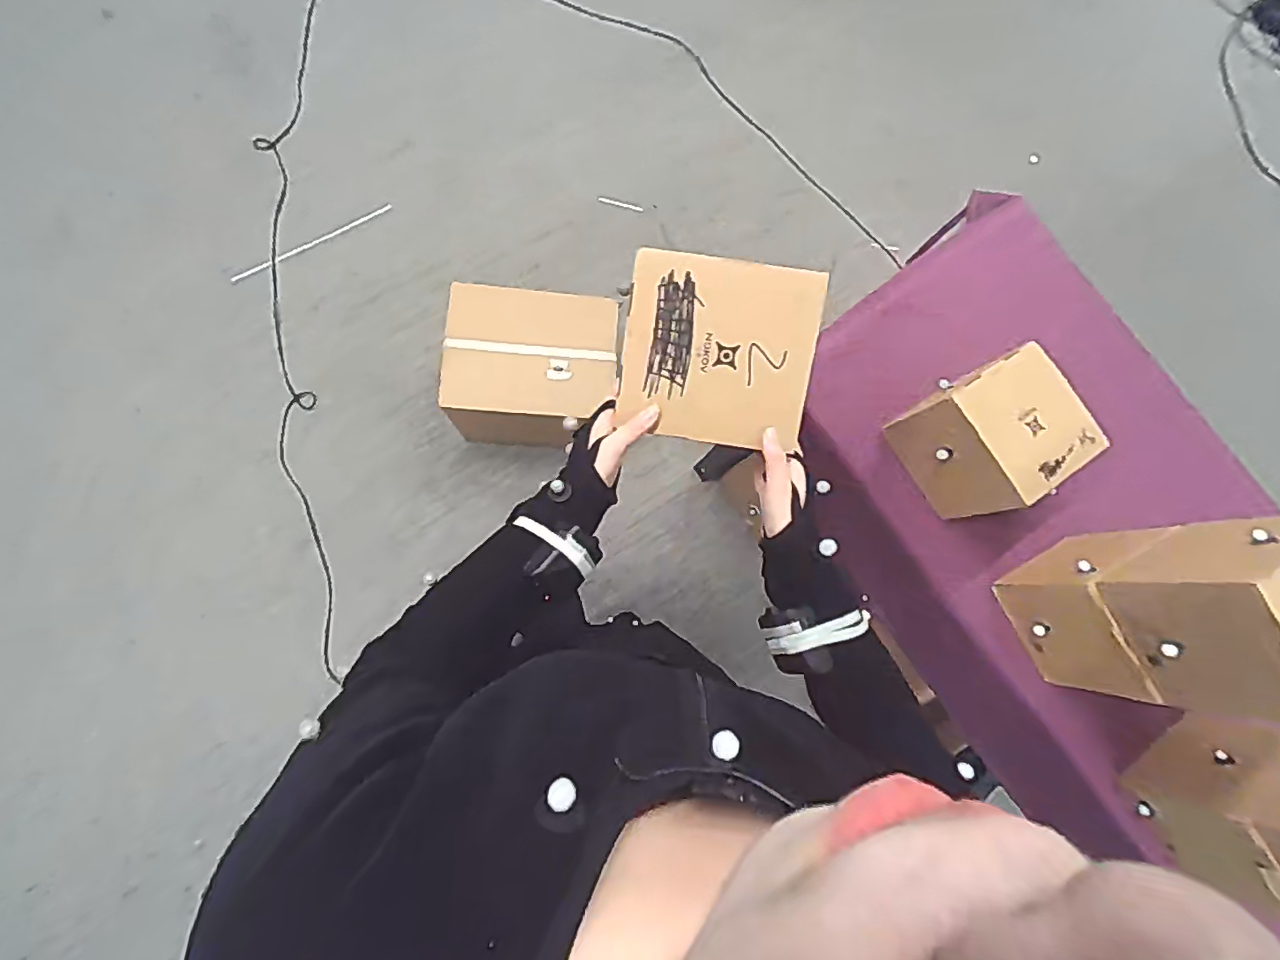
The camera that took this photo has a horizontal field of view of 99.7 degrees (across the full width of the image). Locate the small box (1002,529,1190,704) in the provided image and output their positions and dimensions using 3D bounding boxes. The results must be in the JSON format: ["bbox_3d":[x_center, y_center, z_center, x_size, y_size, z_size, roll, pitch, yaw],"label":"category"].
[{"bbox_3d":[0.676,0.184,0.771,0.179,0.176,0.168,-26,84,-10],"label":"small box"}]

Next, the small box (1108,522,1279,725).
[{"bbox_3d":[0.701,0.152,0.611,0.179,0.176,0.168,-25,83,-10],"label":"small box"}]

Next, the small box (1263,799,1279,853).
[{"bbox_3d":[0.862,0.431,0.578,0.168,0.176,0.179,-30,84,-12],"label":"small box"}]

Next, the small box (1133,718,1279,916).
[{"bbox_3d":[0.839,0.459,0.737,0.179,0.176,0.168,-31,84,-12],"label":"small box"}]

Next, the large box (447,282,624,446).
[{"bbox_3d":[-0.260,-0.283,1.419,0.408,0.320,0.320,4,80,-7],"label":"large box"}]

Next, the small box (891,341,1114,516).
[{"bbox_3d":[0.513,-0.065,0.794,0.168,0.176,0.179,-31,84,-10],"label":"small box"}]
